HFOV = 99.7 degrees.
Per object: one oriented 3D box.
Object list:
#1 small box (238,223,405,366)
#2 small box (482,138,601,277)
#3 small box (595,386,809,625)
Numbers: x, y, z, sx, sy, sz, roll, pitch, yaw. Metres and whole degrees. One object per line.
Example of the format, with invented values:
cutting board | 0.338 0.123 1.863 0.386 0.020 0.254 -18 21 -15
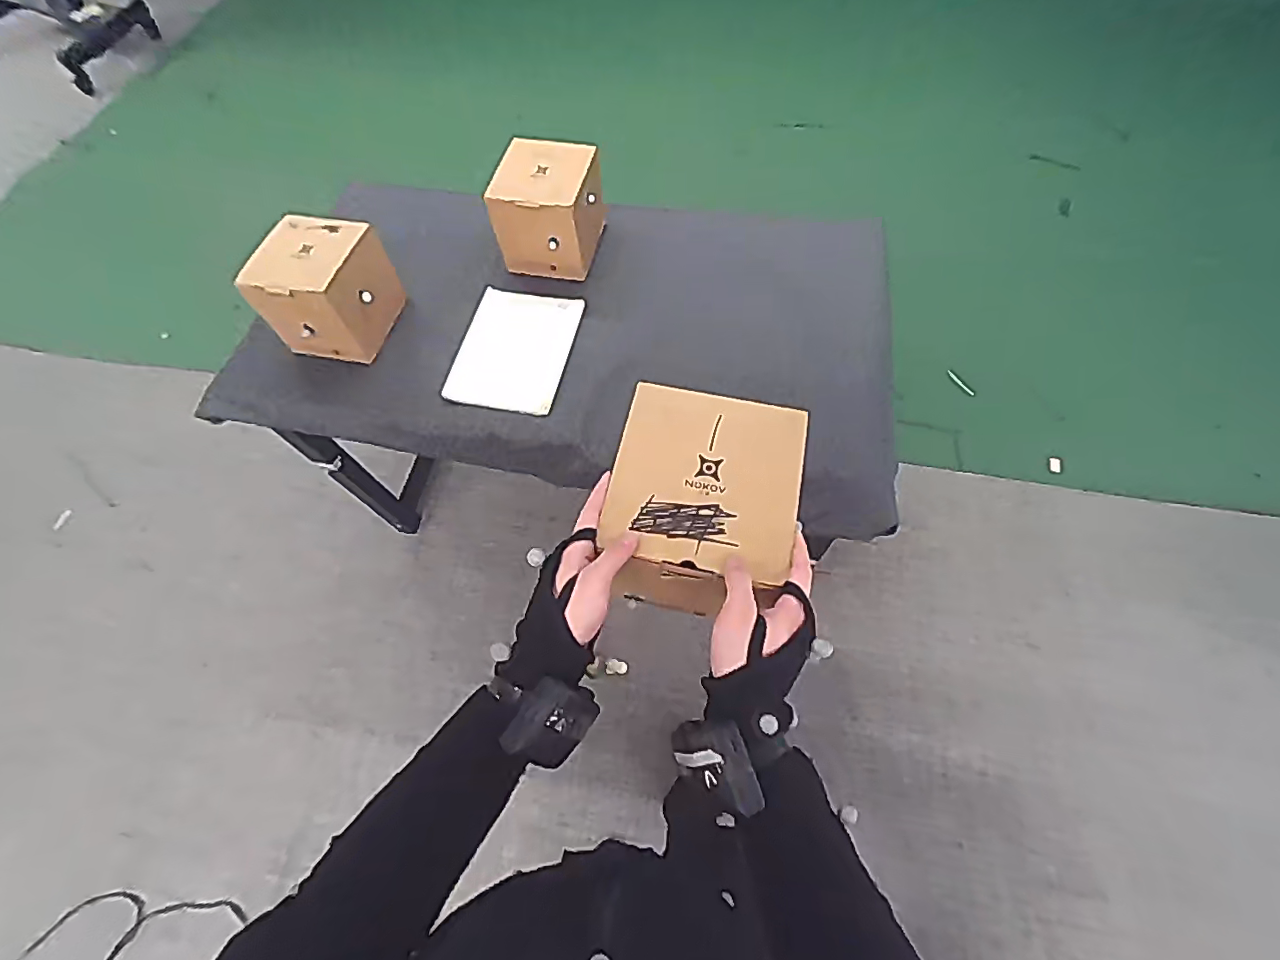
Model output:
small box | -0.559 -0.330 0.980 0.168 0.176 0.179 9 64 7
small box | -0.177 -0.518 1.039 0.168 0.176 0.179 10 64 7
small box | 0.061 0.035 0.553 0.168 0.176 0.179 12 63 6
